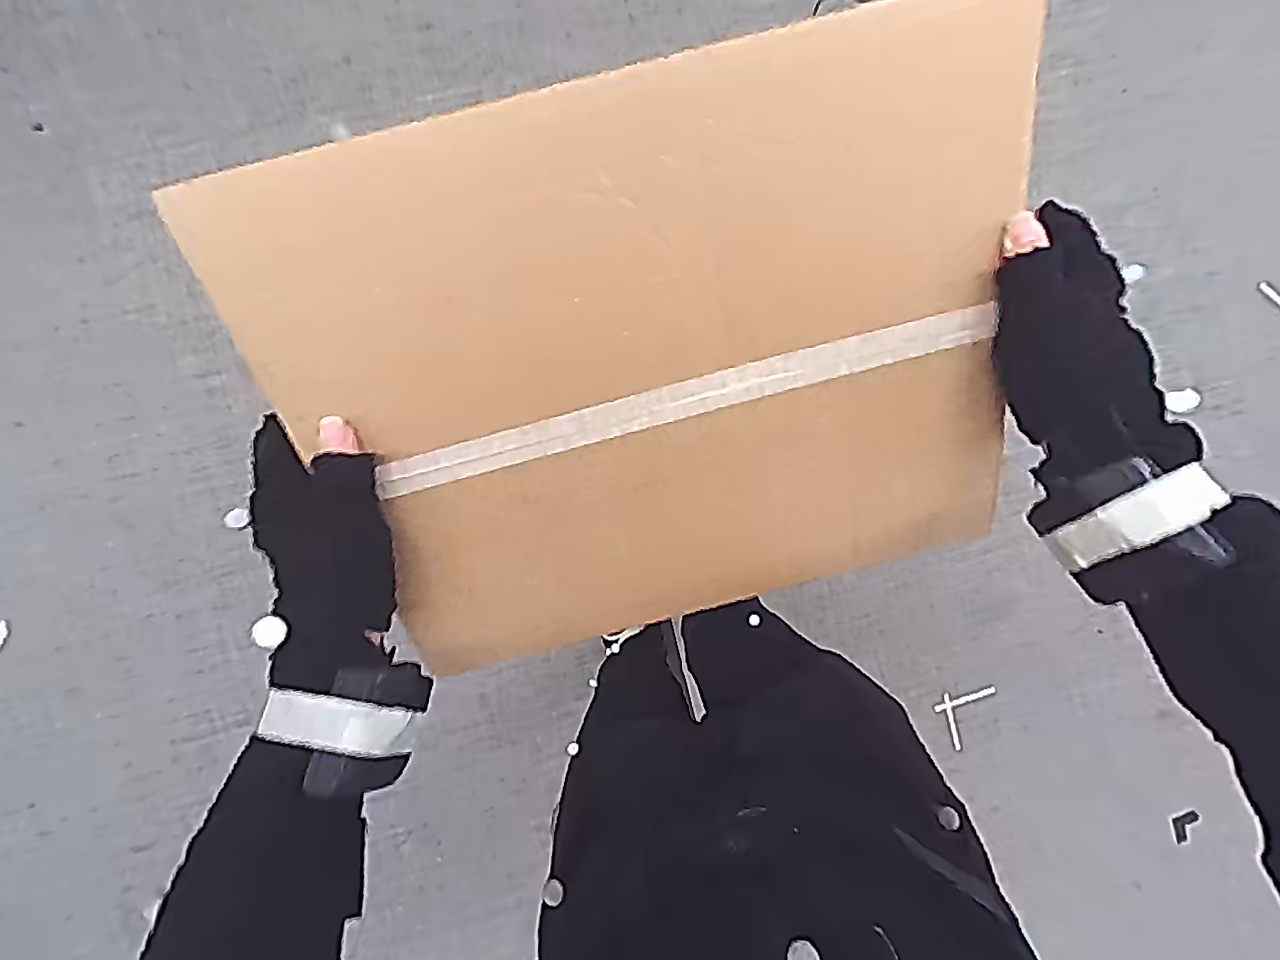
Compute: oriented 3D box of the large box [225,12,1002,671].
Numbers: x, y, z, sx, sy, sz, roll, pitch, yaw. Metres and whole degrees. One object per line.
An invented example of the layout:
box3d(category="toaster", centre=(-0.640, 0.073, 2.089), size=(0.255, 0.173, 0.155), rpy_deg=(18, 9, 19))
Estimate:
box3d(category="large box", centre=(0.002, -0.105, 0.461), size=(0.408, 0.320, 0.320), rpy_deg=(-15, 118, 0))
